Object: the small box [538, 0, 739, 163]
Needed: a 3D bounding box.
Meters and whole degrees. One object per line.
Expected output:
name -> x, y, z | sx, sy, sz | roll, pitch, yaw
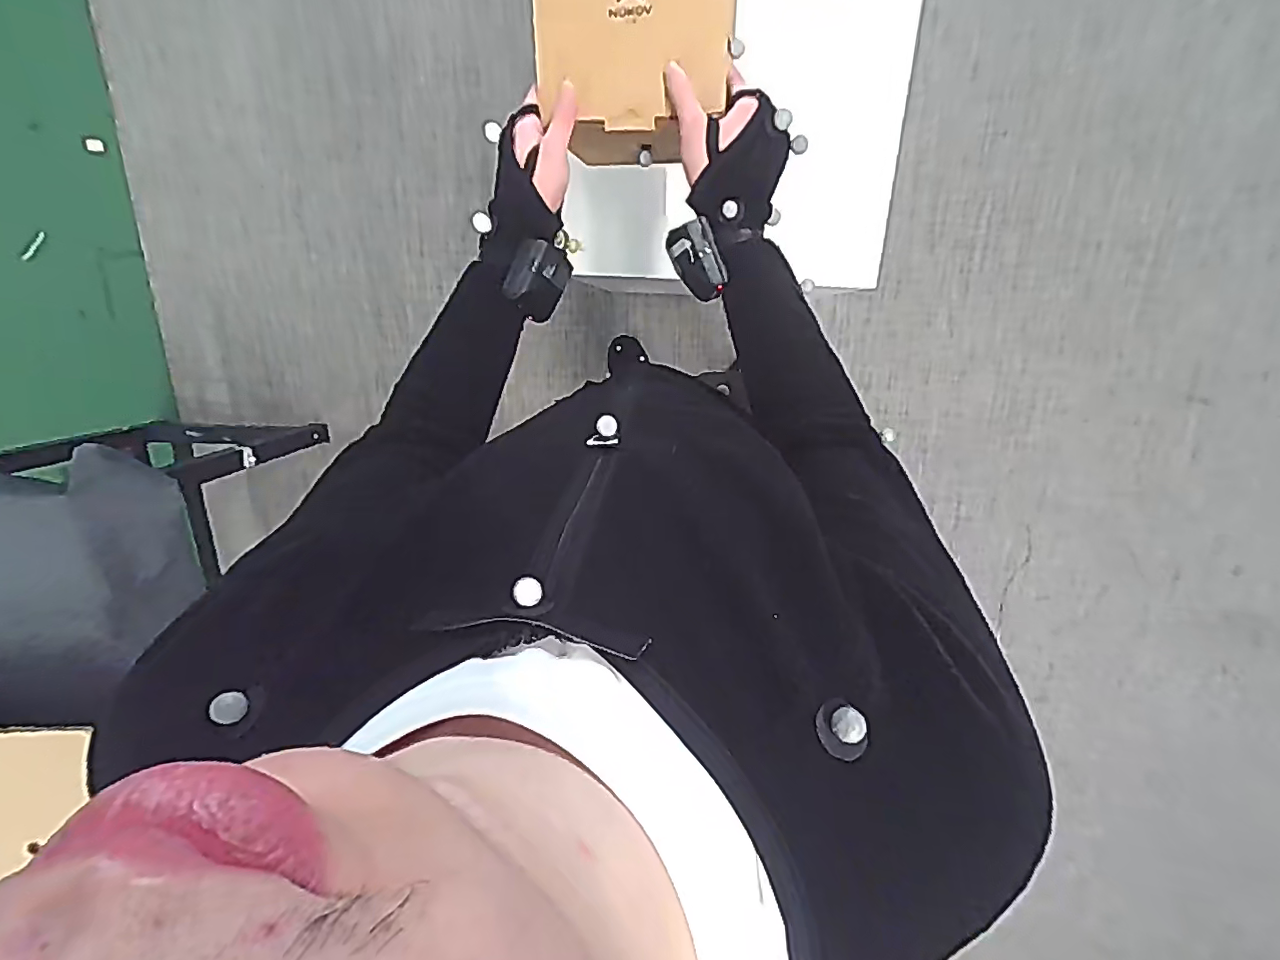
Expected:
small box -> 0.009, -0.420, 0.521 | 0.168, 0.176, 0.179 | 1, 109, 10
